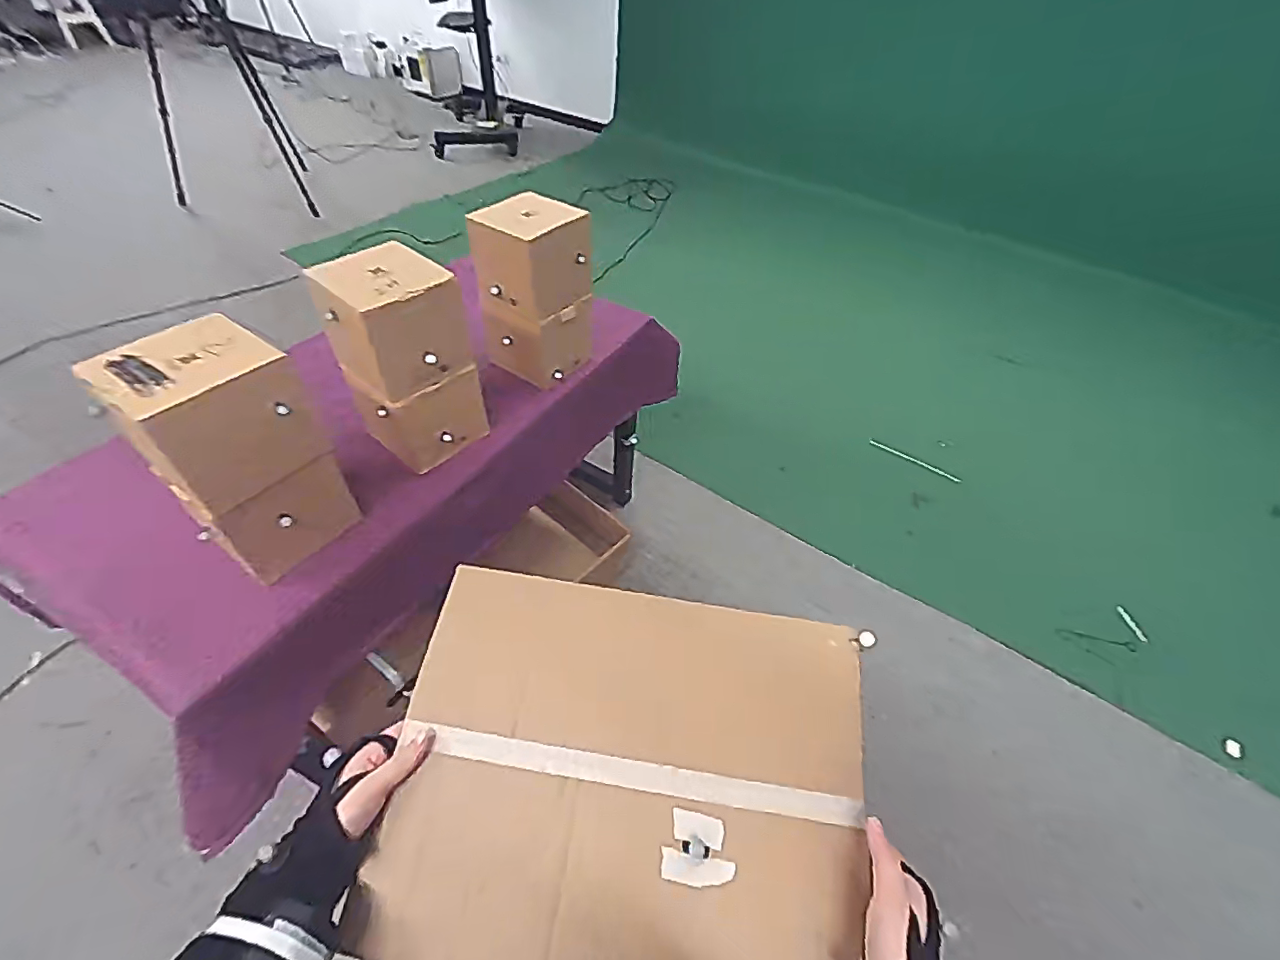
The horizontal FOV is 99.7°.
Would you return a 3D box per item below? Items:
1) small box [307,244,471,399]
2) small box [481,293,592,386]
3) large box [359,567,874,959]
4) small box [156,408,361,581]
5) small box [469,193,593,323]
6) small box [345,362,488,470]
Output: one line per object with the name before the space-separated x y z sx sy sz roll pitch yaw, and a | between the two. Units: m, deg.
small box | -0.410 -0.264 0.907 0.179 0.176 0.168 35 55 24
small box | -0.222 -0.333 1.204 0.179 0.176 0.168 29 52 21
large box | -0.003 0.318 0.604 0.408 0.320 0.320 9 63 4
small box | -0.582 0.025 0.850 0.168 0.176 0.179 30 53 21
small box | -0.212 -0.447 1.087 0.168 0.176 0.179 30 53 22
small box | -0.414 -0.150 1.025 0.179 0.176 0.168 34 54 23
